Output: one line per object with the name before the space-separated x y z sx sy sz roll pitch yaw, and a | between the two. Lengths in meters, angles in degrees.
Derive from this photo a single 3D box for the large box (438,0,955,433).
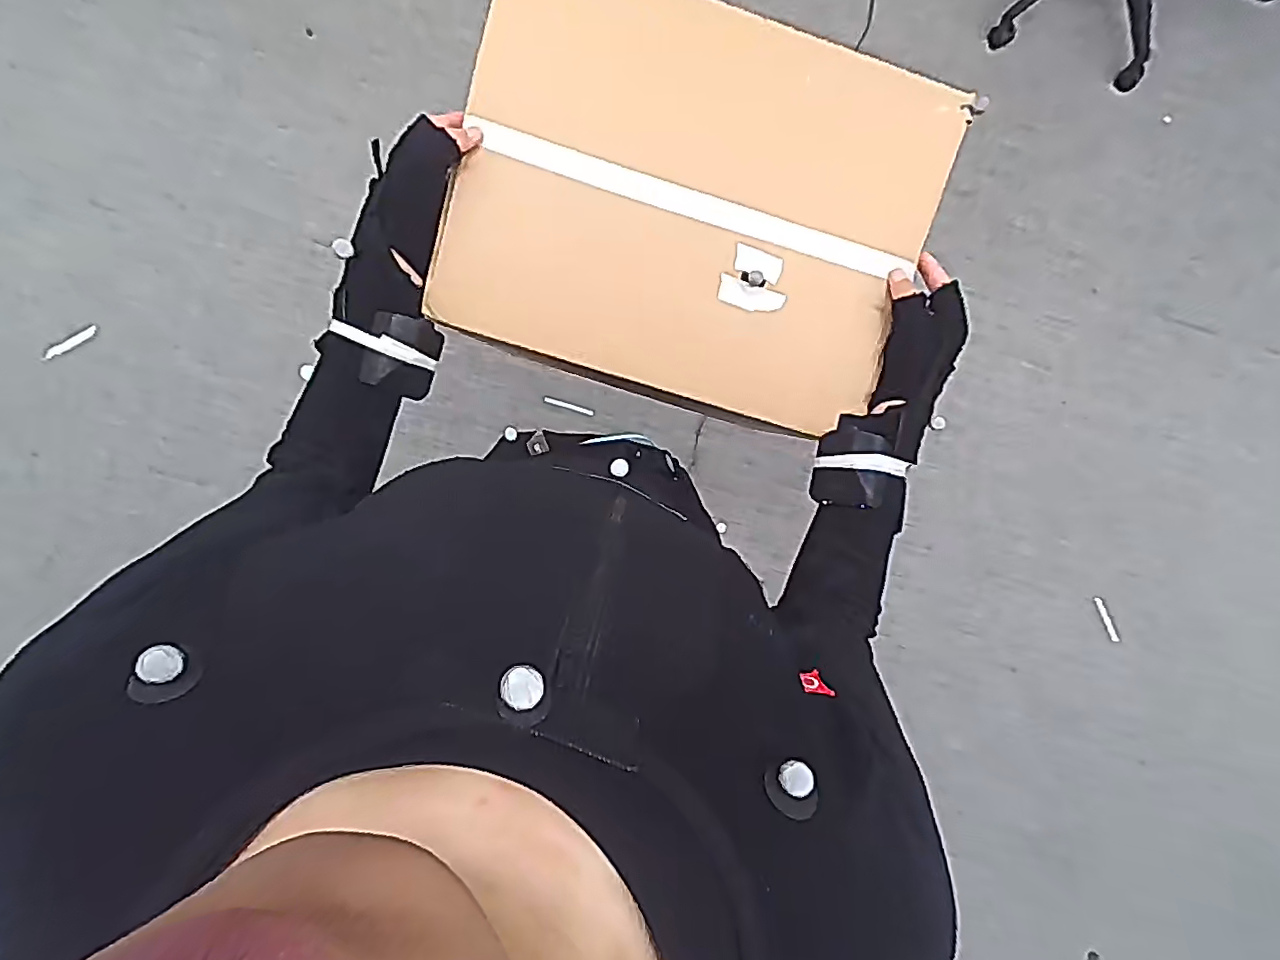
large box | 0.039 -0.260 0.623 0.408 0.320 0.320 16 98 -6
